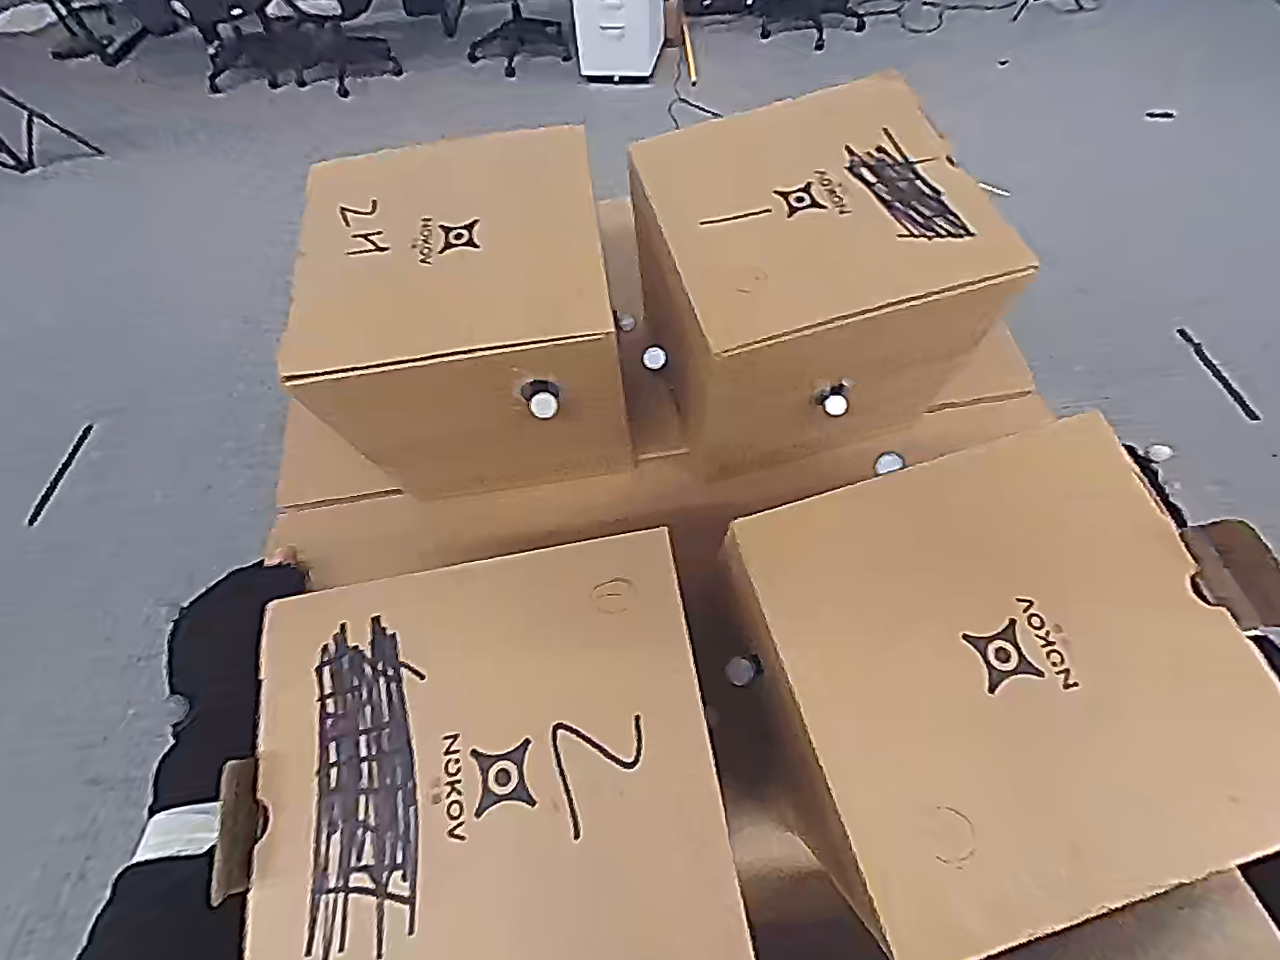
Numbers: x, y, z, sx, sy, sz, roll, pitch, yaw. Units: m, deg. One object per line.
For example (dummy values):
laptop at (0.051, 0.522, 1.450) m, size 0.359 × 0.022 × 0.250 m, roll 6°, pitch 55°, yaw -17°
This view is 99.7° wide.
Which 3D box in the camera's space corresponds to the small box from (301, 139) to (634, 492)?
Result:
small box at (-0.098, -0.104, 0.391) m, size 0.179 × 0.176 × 0.168 m, roll -7°, pitch 66°, yaw 1°
